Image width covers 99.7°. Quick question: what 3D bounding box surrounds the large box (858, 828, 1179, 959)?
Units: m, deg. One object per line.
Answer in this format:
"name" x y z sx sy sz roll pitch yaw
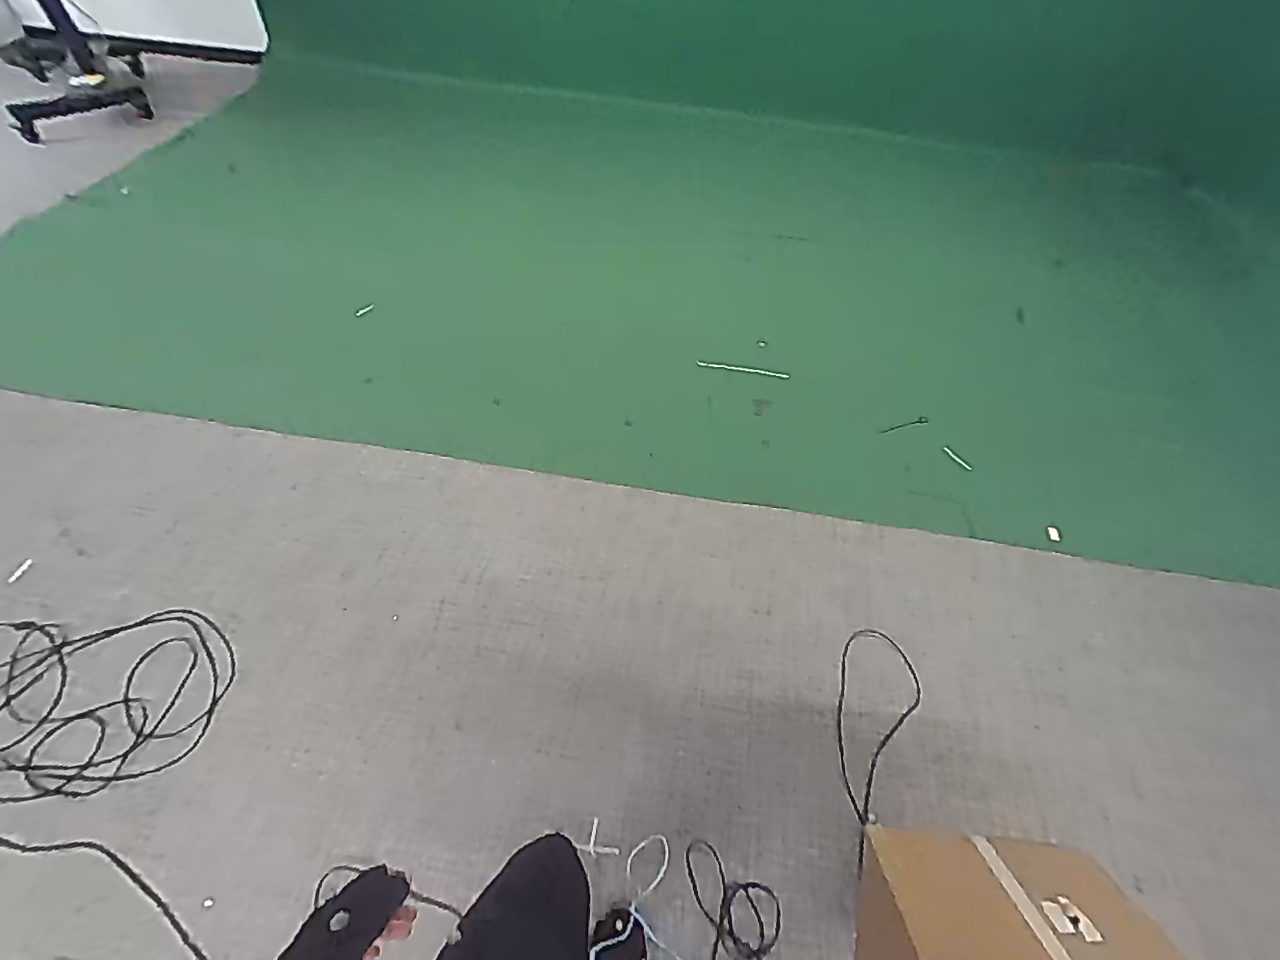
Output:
"large box" 0.465 0.699 0.620 0.320 0.408 0.320 4 95 6
